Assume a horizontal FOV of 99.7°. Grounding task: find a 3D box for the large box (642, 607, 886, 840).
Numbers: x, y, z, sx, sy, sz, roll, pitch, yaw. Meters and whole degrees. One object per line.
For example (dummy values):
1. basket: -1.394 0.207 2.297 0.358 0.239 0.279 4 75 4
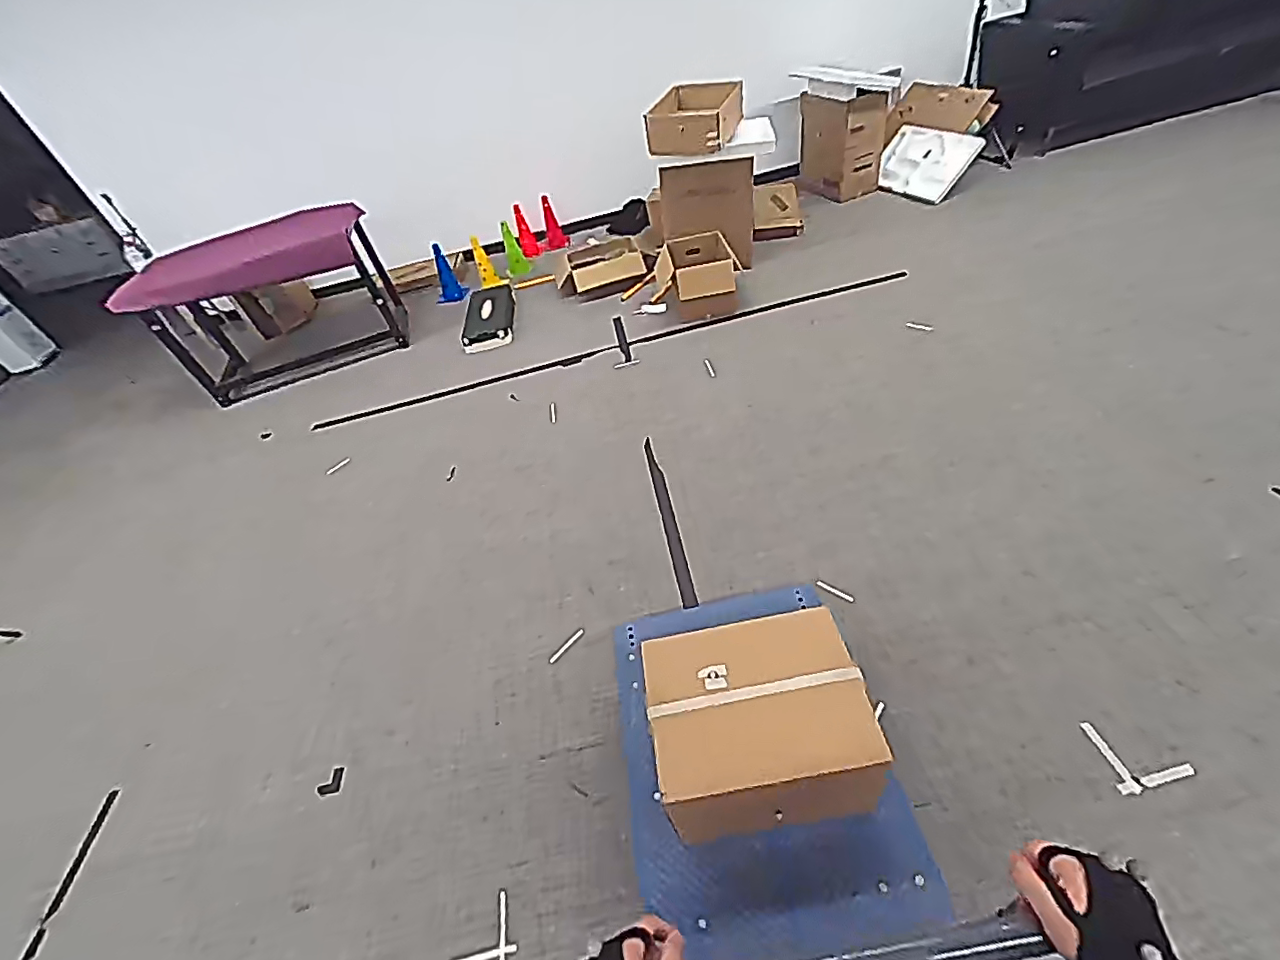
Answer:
1. large box: 0.245 0.521 1.150 0.408 0.320 0.320 -13 43 2
